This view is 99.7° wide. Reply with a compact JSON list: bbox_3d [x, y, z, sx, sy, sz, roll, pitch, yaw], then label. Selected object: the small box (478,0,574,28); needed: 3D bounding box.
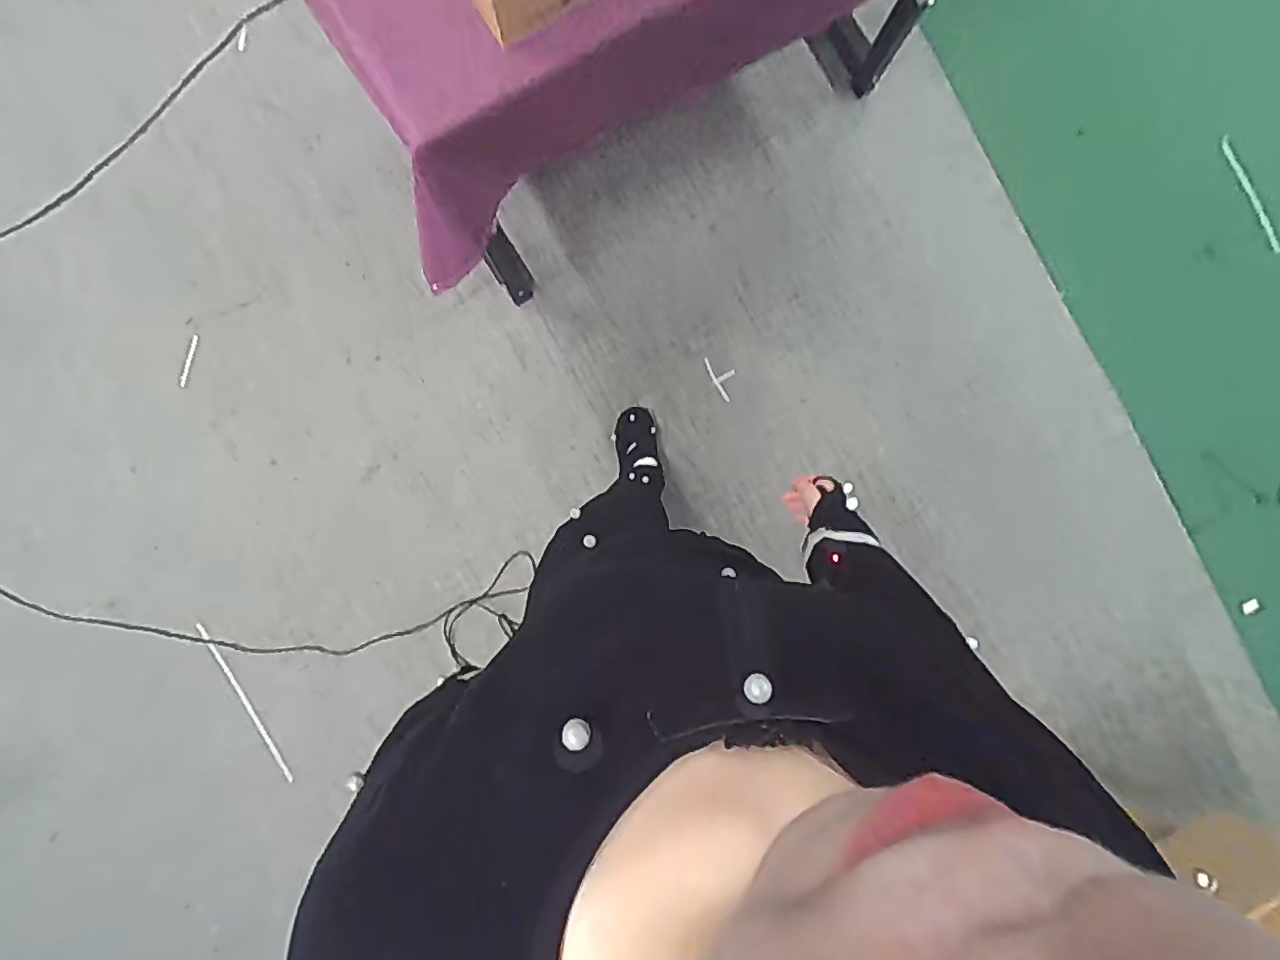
[{"bbox_3d":[-0.157,-0.715,0.666,0.168,0.176,0.179,-31,91,-3],"label":"small box"}]
